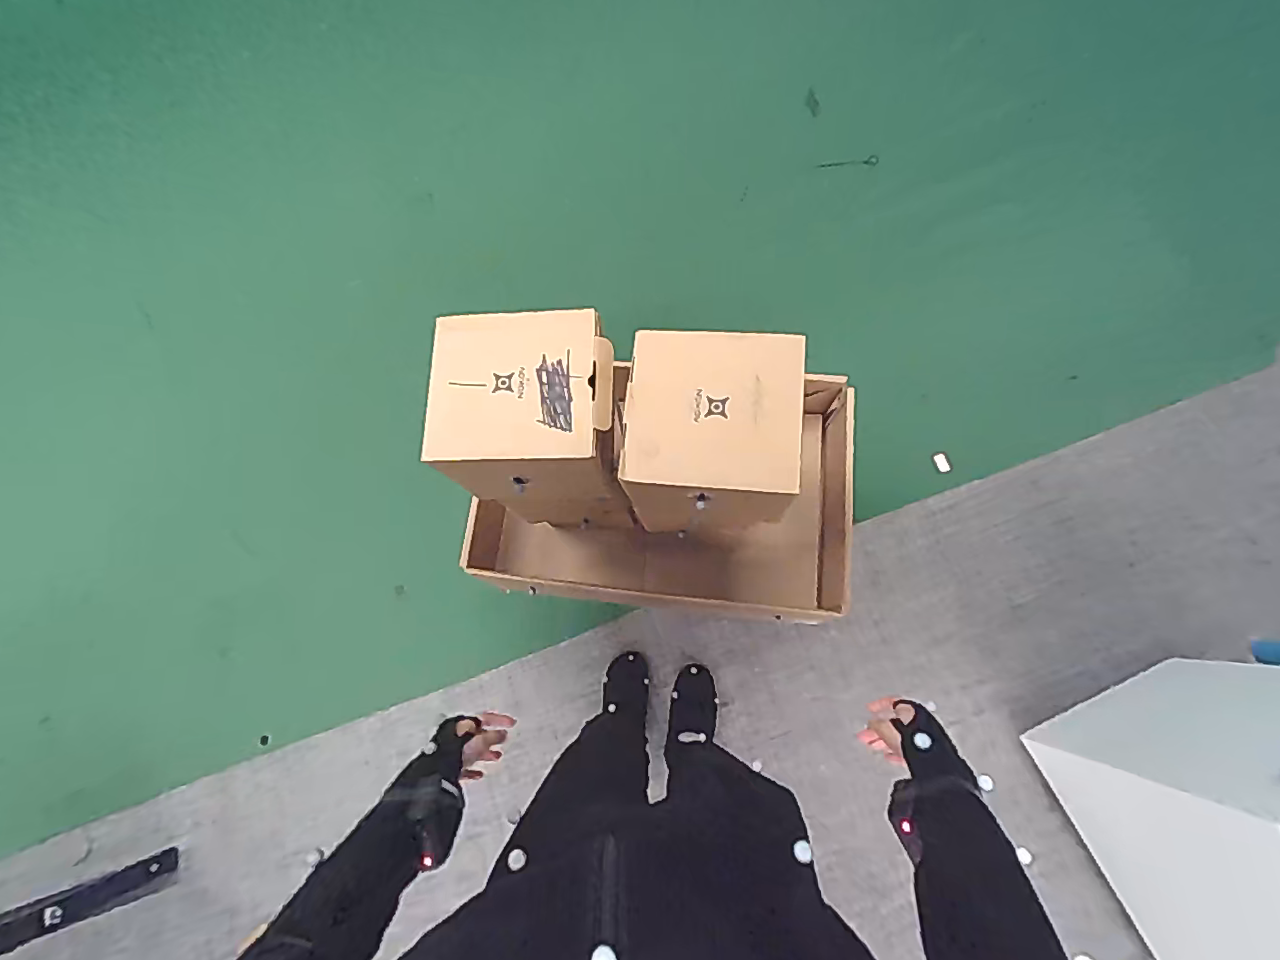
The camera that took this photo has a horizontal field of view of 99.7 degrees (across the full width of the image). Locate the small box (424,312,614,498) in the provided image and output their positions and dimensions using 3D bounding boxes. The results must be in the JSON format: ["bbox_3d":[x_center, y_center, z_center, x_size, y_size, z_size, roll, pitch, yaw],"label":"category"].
[{"bbox_3d":[-0.125,-0.077,0.633,0.179,0.176,0.168,-1,74,4],"label":"small box"}]

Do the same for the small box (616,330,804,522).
[{"bbox_3d":[0.081,-0.052,0.612,0.179,0.176,0.168,5,76,9],"label":"small box"}]
